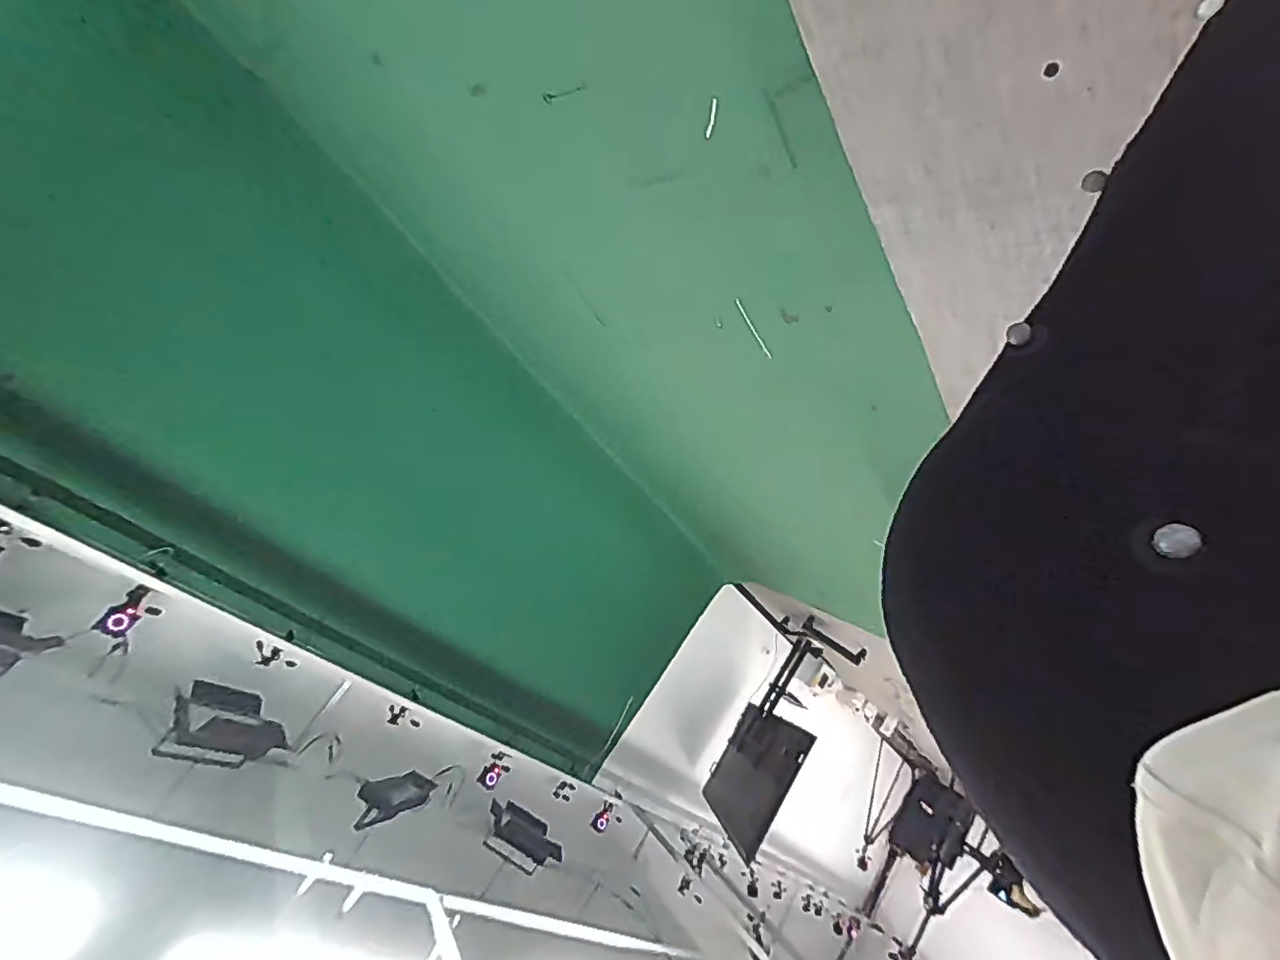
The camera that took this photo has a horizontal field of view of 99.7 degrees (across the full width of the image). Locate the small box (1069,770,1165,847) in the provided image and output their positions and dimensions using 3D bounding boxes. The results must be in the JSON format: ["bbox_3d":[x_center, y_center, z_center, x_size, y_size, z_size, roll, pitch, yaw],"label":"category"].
[{"bbox_3d":[1.401,0.922,1.586,0.179,0.176,0.168,47,161,-30],"label":"small box"}]

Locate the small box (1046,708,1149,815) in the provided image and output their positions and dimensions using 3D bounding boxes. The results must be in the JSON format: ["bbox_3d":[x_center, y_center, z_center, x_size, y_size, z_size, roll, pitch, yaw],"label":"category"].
[{"bbox_3d":[1.222,0.745,1.440,0.168,0.176,0.179,16,155,52],"label":"small box"}]
